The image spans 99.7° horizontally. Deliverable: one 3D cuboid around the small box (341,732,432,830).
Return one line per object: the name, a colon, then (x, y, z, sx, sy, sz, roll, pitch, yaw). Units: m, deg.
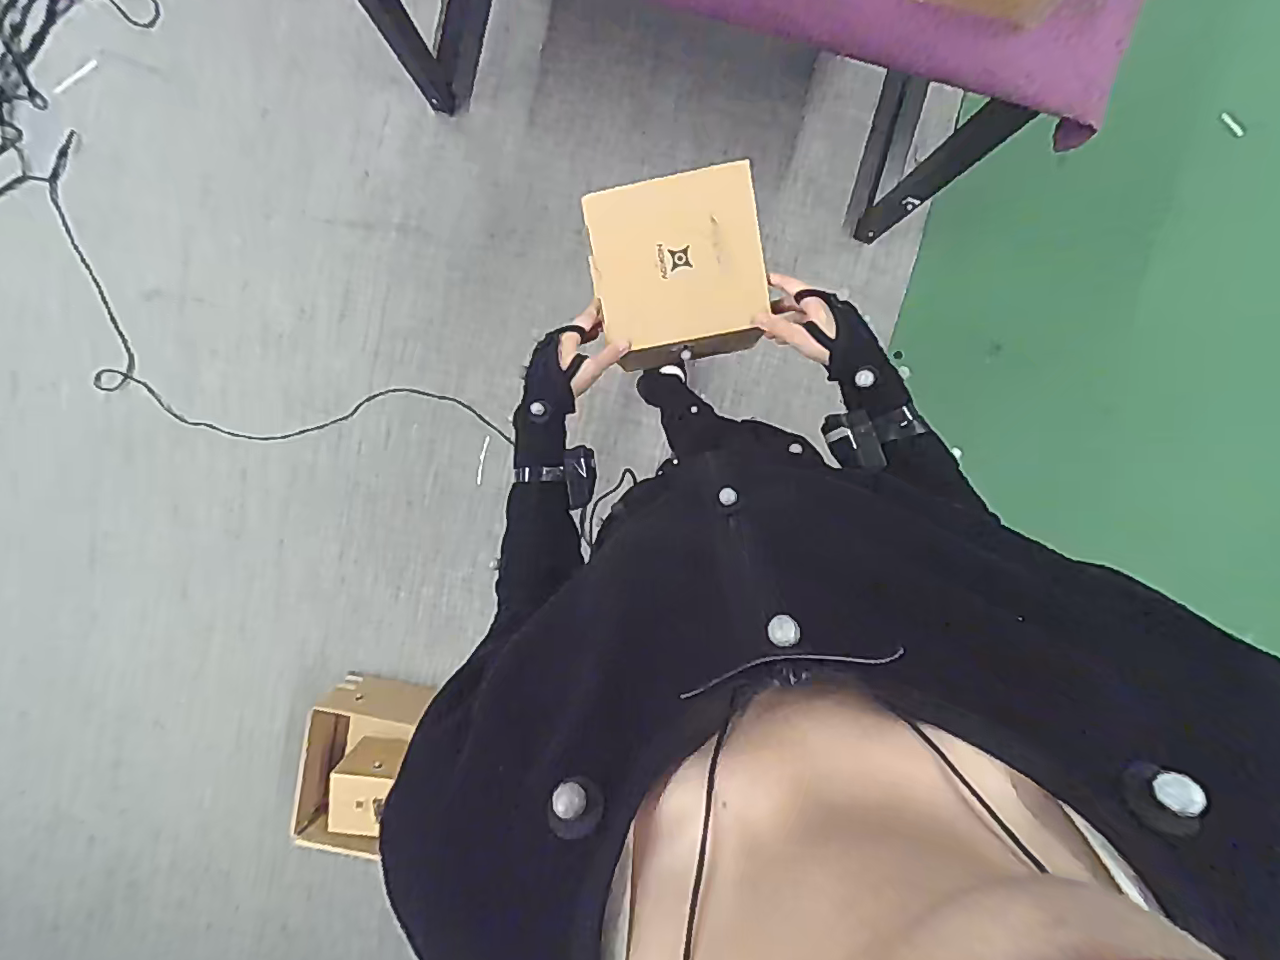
small box: (-0.692, 0.824, 1.494, 0.179, 0.176, 0.168, 6, 96, 1)

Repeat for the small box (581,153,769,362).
small box: (0.044, -0.240, 0.633, 0.179, 0.176, 0.168, -9, 95, 7)

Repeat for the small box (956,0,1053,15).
small box: (0.442, -0.667, 0.595, 0.179, 0.176, 0.168, 14, 98, 1)
